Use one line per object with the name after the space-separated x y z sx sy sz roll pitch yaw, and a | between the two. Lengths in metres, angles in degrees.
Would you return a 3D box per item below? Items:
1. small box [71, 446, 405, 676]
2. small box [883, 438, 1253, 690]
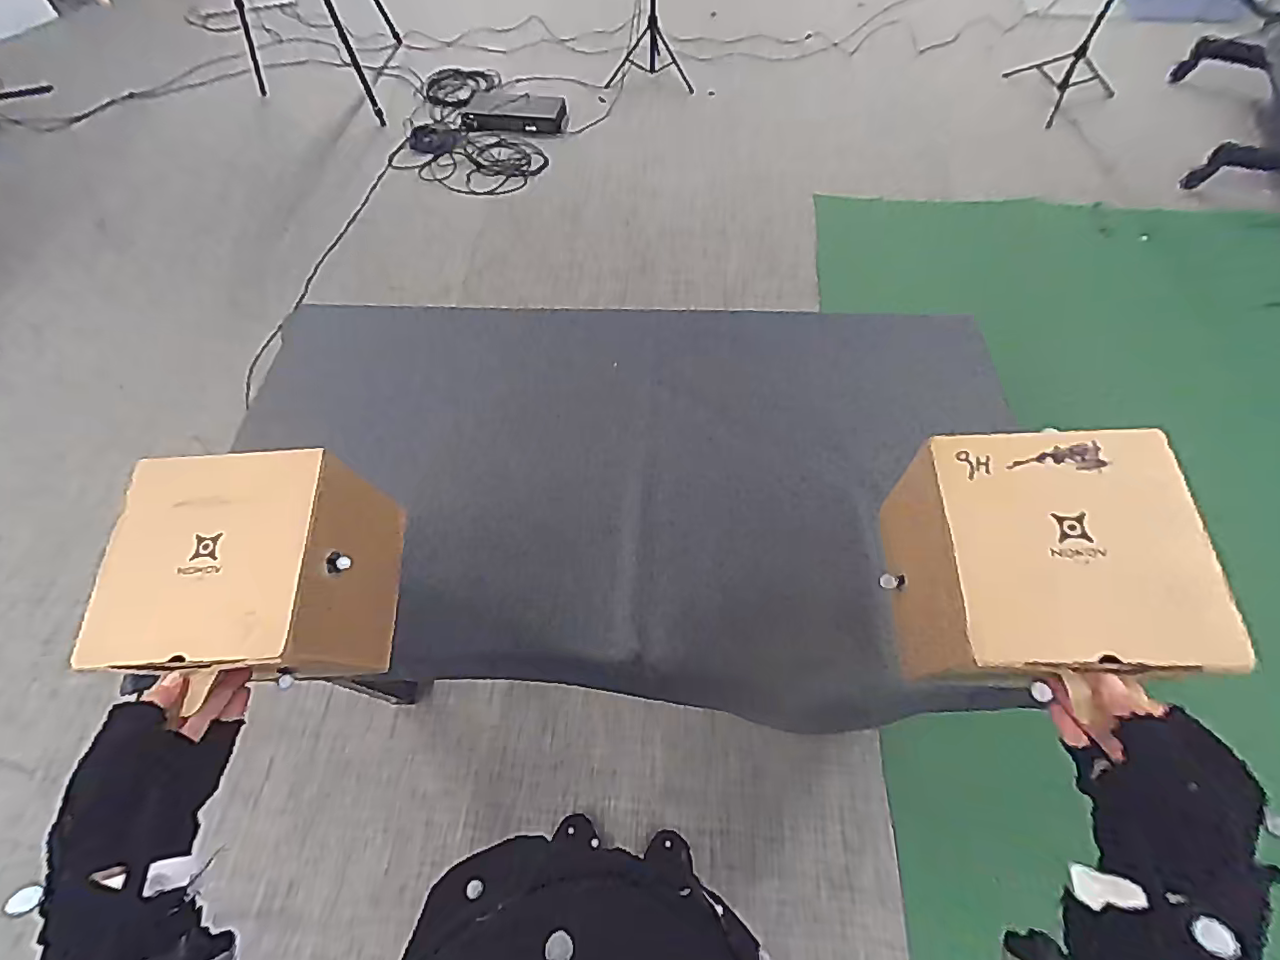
-0.340 0.086 0.502 0.168 0.176 0.179 -4 67 1 | small box
0.319 0.079 0.454 0.168 0.176 0.179 -1 67 8 | small box
